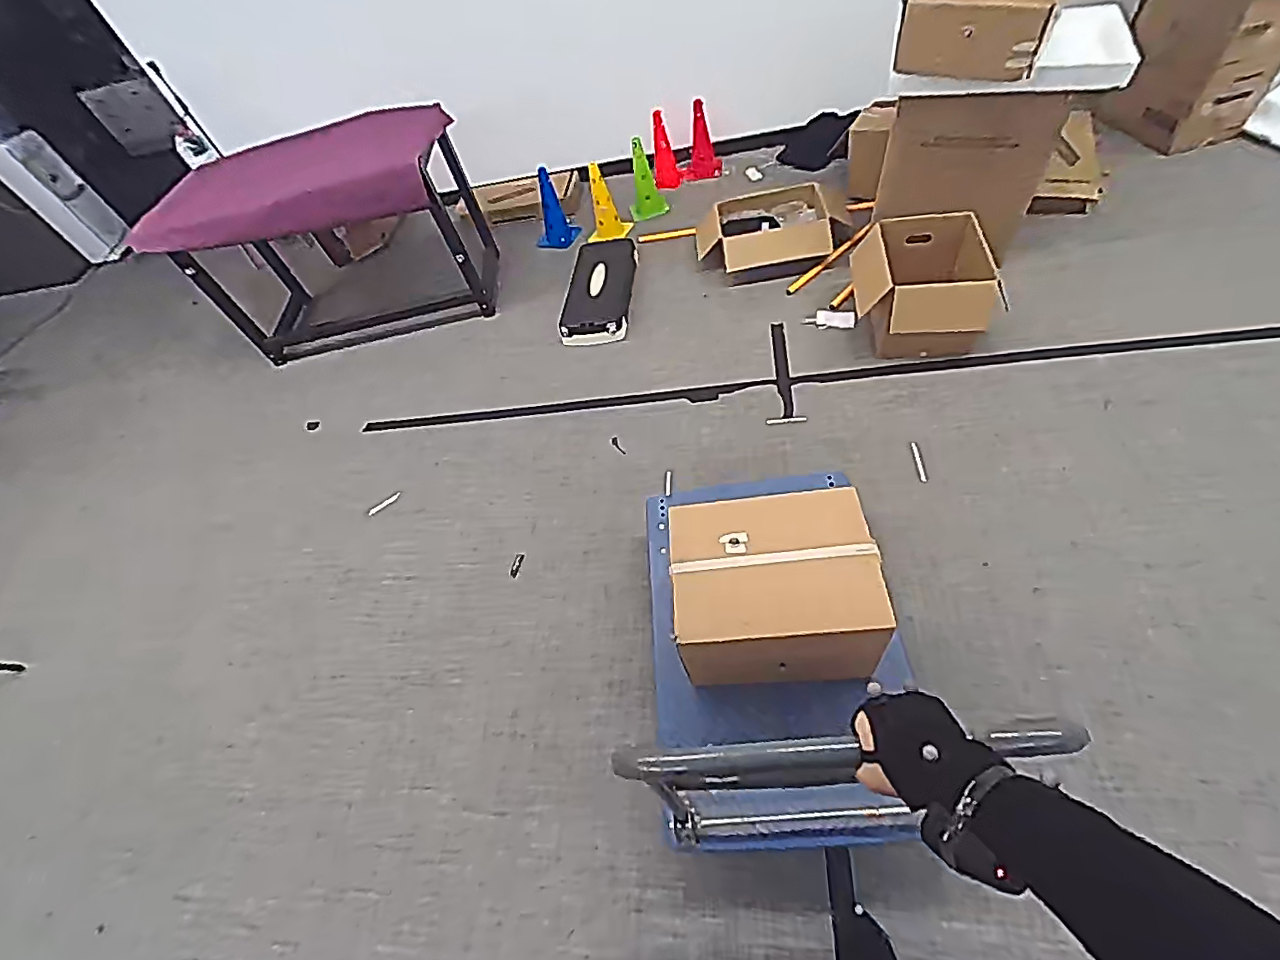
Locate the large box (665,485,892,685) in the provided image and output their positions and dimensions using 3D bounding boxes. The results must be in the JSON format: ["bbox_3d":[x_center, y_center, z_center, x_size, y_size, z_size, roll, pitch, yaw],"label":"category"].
[{"bbox_3d":[0.286,0.246,1.197,0.408,0.320,0.320,-8,52,9],"label":"large box"}]
